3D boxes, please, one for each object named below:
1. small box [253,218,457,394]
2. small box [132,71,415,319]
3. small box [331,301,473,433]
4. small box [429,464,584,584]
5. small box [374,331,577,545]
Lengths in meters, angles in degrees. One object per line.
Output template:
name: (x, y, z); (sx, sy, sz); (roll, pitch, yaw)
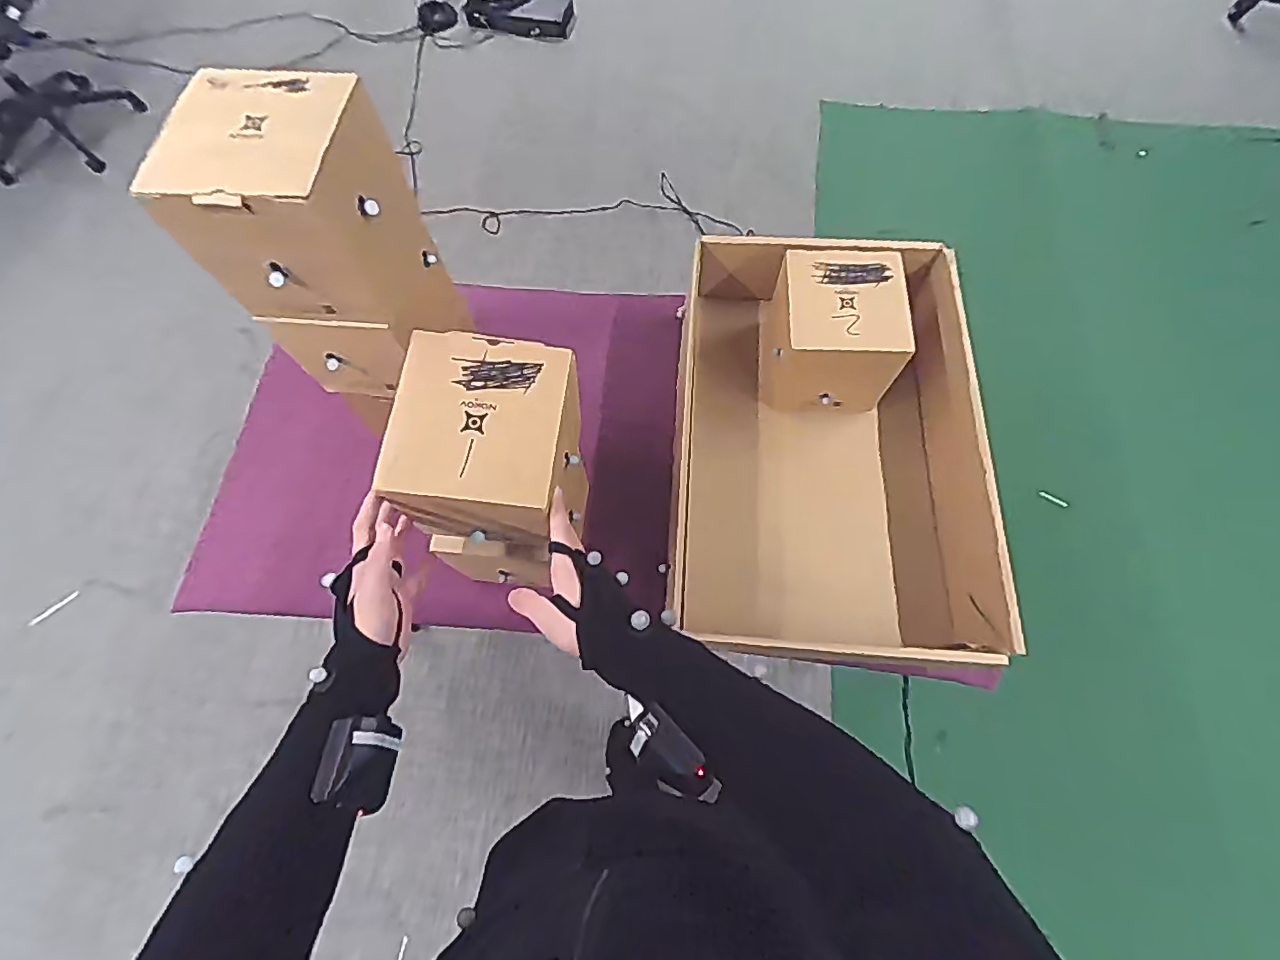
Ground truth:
small box: (-0.365, -0.229, 0.733); (0.168, 0.176, 0.179); (4, 68, 2)
small box: (-0.366, -0.294, 0.582); (0.168, 0.176, 0.179); (4, 69, 1)
small box: (-0.361, -0.173, 0.885); (0.168, 0.176, 0.179); (4, 68, 2)
small box: (-0.179, 0.048, 0.788); (0.168, 0.176, 0.179); (5, 68, 3)
small box: (-0.163, -0.037, 0.604); (0.168, 0.176, 0.179); (6, 71, -1)
